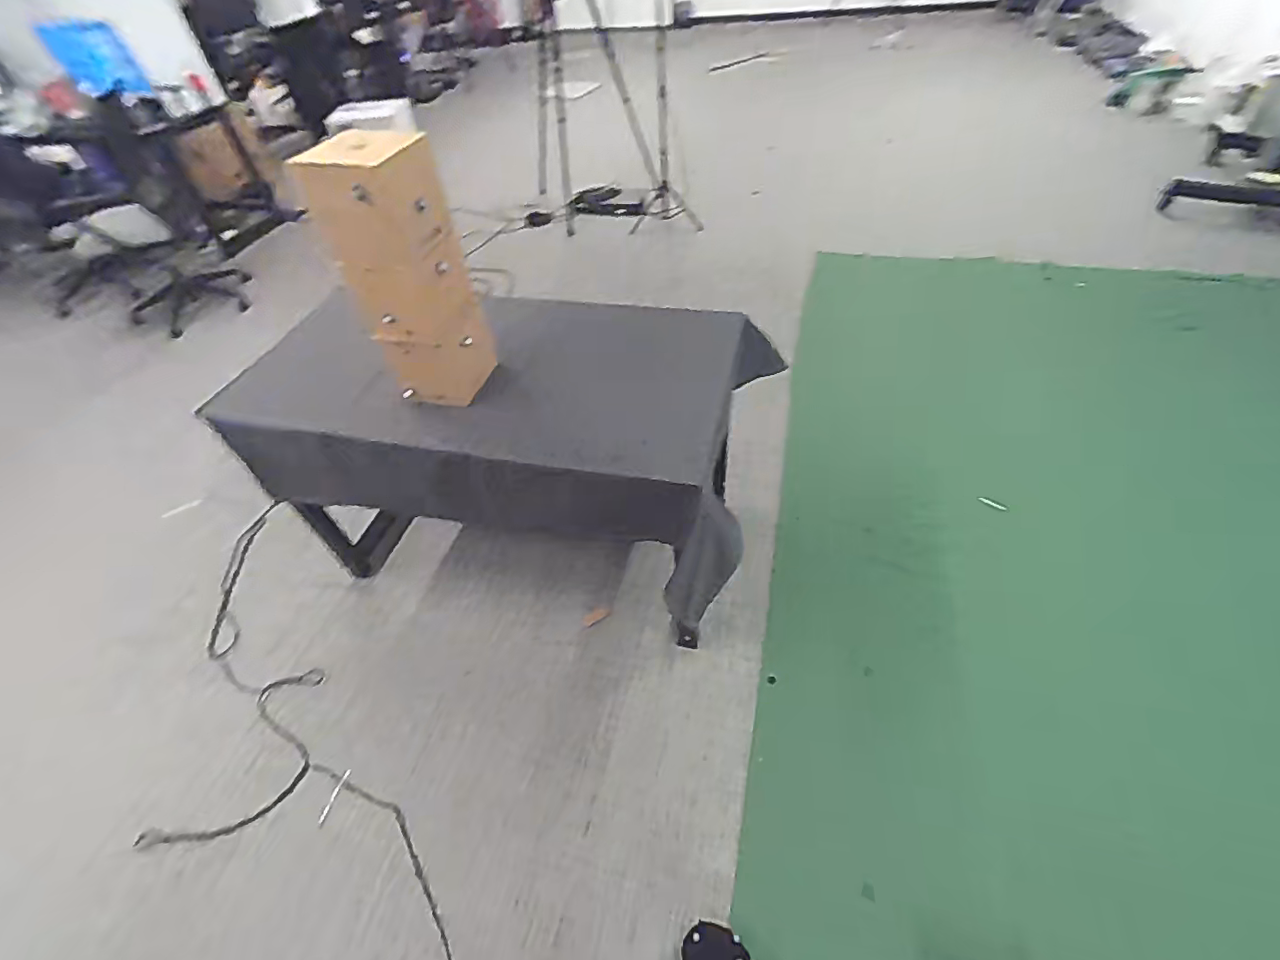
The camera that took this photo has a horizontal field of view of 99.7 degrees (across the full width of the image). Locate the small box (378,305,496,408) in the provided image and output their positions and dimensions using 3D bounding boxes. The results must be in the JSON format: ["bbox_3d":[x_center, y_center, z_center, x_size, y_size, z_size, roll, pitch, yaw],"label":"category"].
[{"bbox_3d":[-0.449,-0.283,1.232,0.168,0.176,0.179,8,48,13],"label":"small box"}]

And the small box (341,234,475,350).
[{"bbox_3d":[-0.460,-0.391,1.112,0.168,0.176,0.179,8,49,13],"label":"small box"}]

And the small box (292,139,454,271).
[{"bbox_3d":[-0.471,-0.500,0.988,0.179,0.176,0.168,9,49,14],"label":"small box"}]
